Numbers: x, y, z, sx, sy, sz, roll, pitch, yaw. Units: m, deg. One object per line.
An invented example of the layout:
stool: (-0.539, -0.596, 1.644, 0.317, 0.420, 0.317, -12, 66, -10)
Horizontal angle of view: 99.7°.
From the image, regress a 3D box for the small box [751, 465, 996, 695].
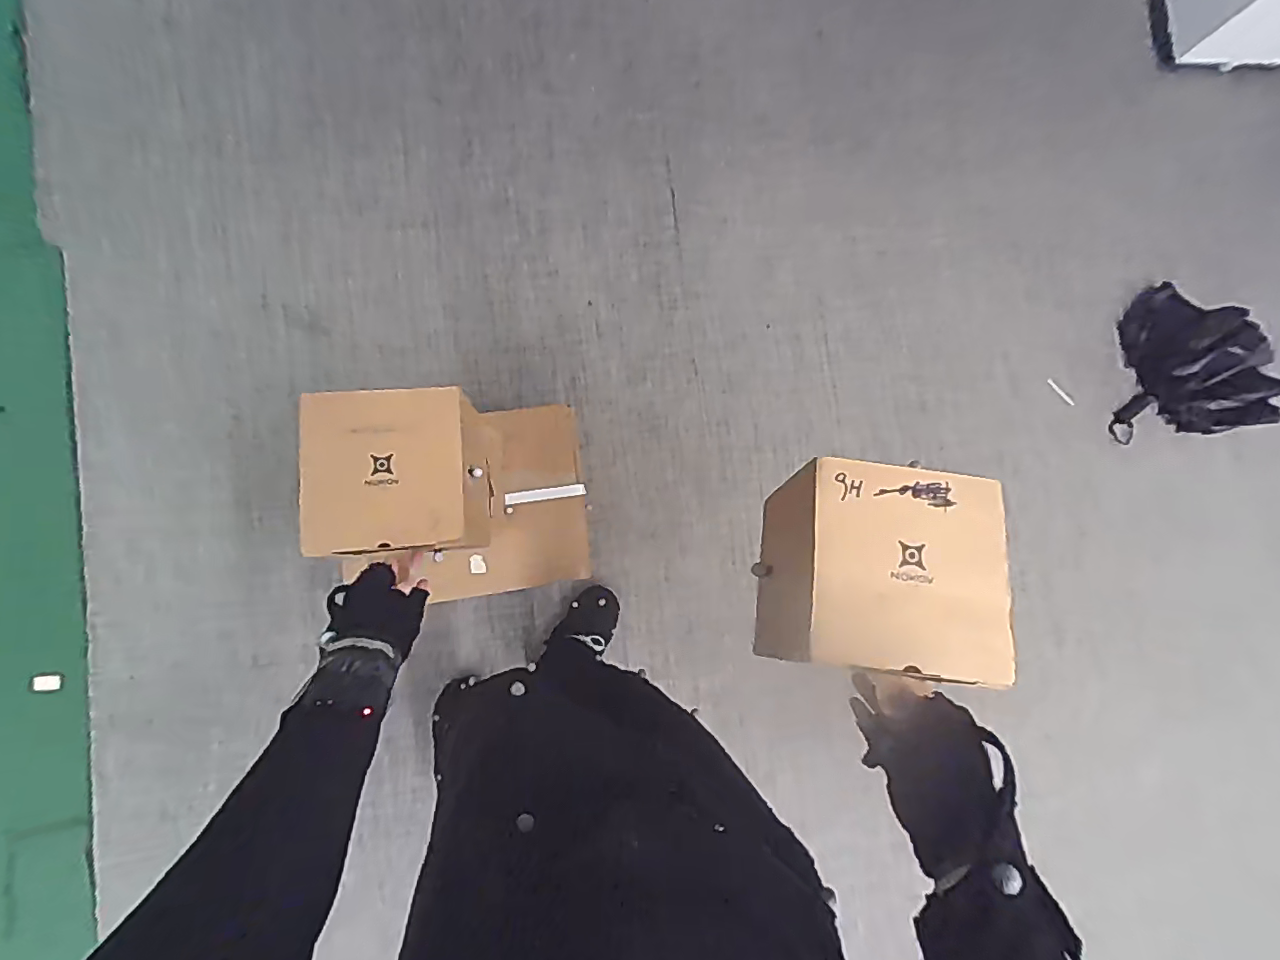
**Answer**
small box: (0.211, 0.100, 0.530, 0.168, 0.176, 0.179, 7, 74, -1)

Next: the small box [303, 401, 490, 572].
small box: (-0.283, 0.015, 0.660, 0.168, 0.176, 0.179, -5, 82, -7)
